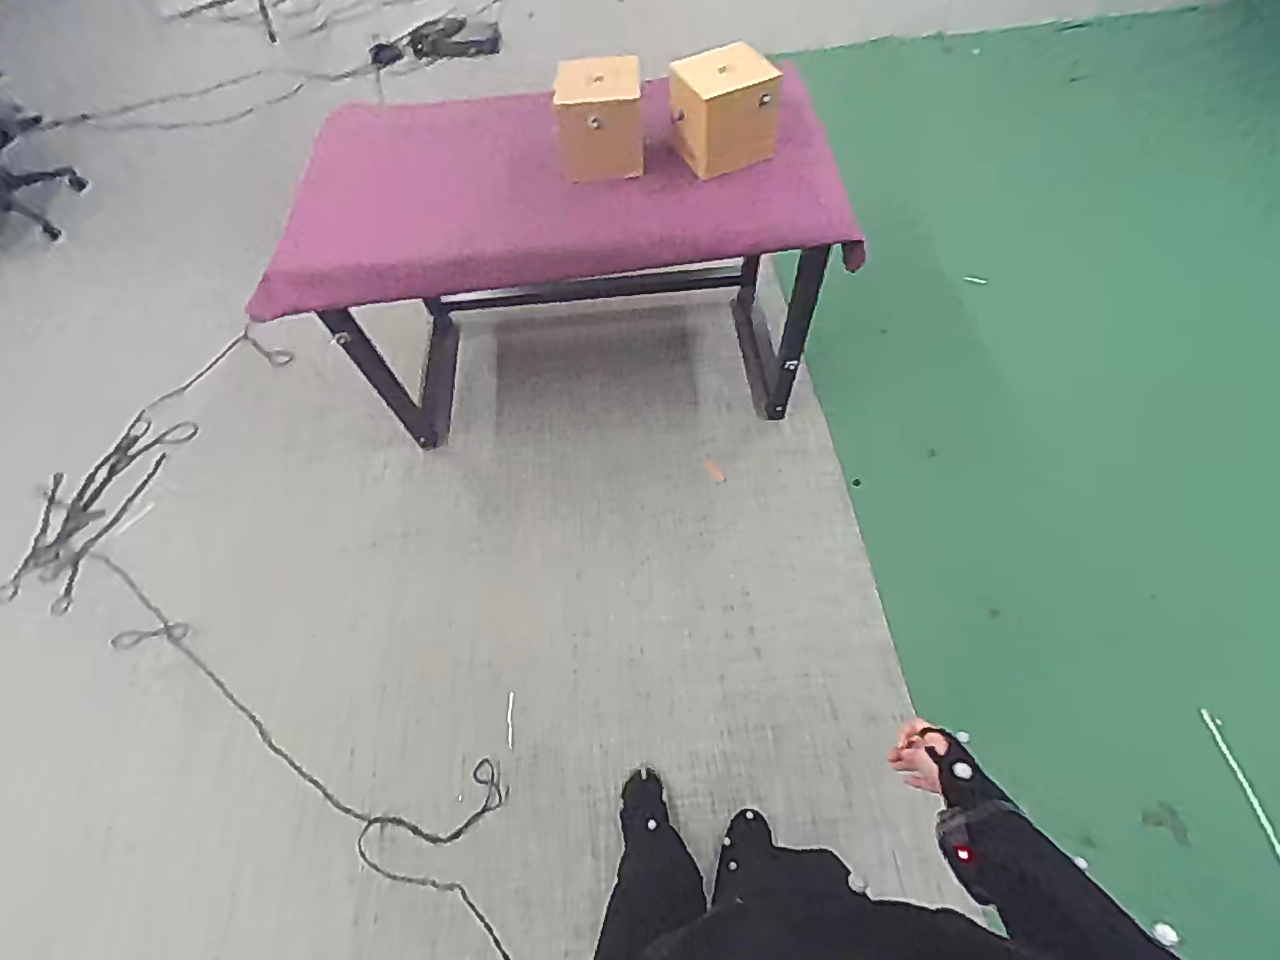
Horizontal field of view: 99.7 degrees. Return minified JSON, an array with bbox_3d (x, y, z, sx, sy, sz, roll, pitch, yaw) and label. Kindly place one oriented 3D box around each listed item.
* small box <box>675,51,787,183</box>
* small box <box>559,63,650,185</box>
[{"bbox_3d":[0.188,-0.775,1.165,0.179,0.176,0.168,-22,61,-9],"label":"small box"},{"bbox_3d":[-0.070,-0.769,1.177,0.179,0.176,0.168,-1,62,2],"label":"small box"}]
